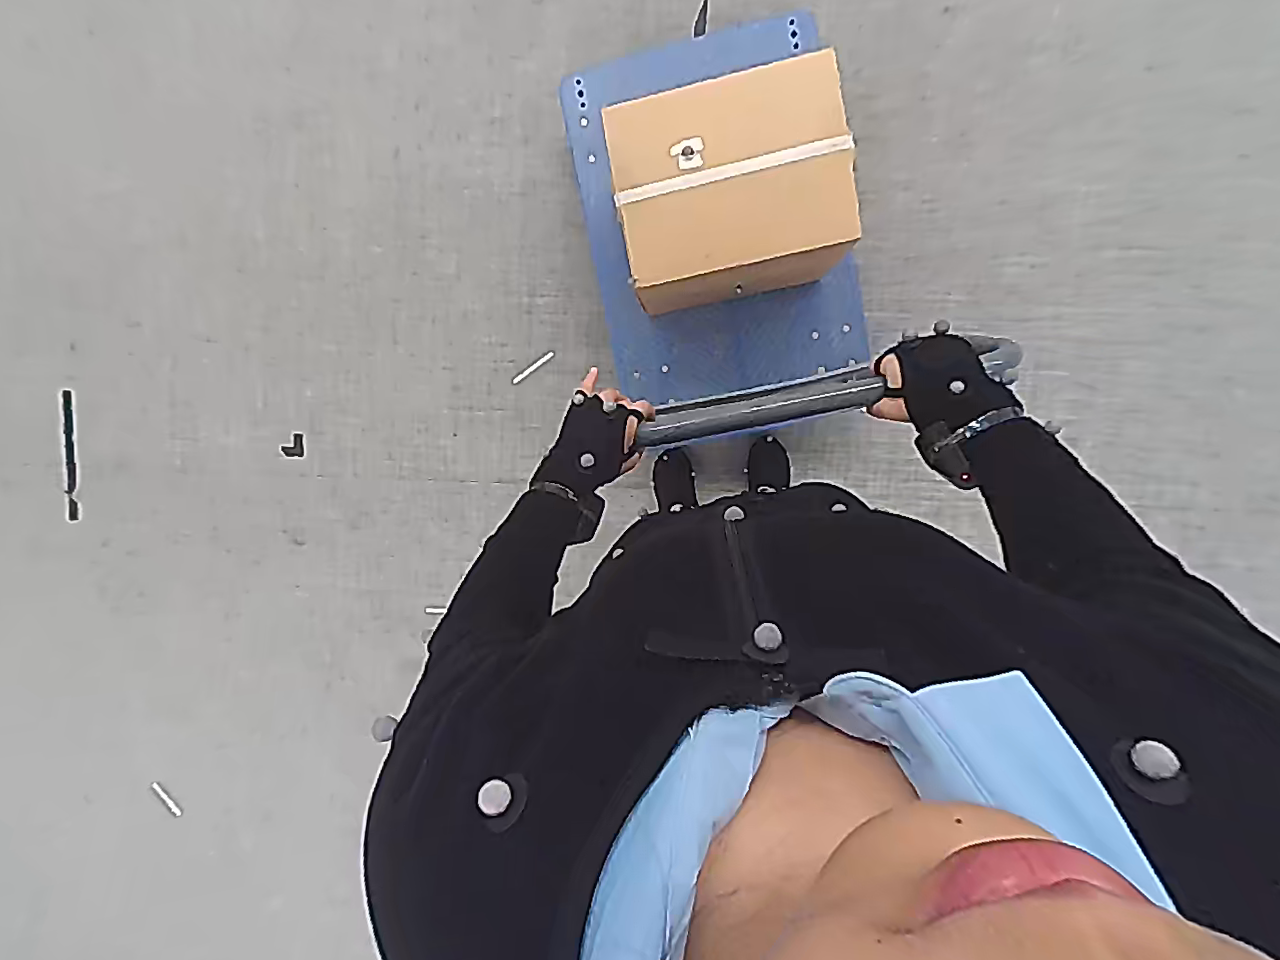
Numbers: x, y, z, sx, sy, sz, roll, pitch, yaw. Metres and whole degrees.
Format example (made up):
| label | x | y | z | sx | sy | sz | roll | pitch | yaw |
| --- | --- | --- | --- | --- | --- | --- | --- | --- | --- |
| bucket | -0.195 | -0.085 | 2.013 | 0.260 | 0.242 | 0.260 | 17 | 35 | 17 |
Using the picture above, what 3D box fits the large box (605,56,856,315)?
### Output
| label | x | y | z | sx | sy | sz | roll | pitch | yaw |
| --- | --- | --- | --- | --- | --- | --- | --- | --- | --- |
| large box | 0.175 | -0.557 | 1.107 | 0.408 | 0.320 | 0.320 | -11 | 95 | 8 |
